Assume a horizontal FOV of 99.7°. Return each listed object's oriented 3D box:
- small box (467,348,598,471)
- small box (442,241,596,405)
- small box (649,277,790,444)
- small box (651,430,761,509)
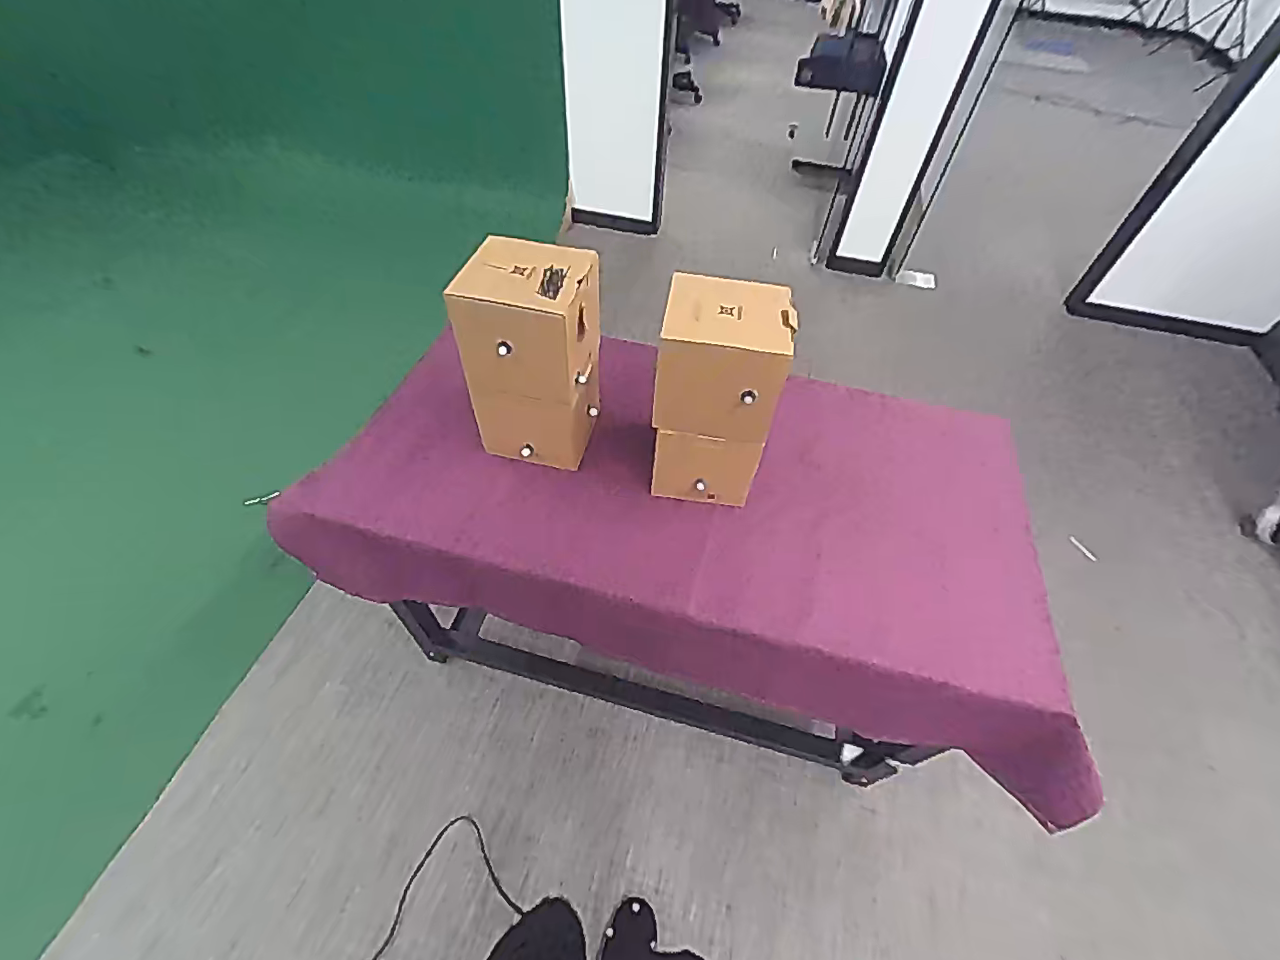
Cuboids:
[{"bbox_3d":[-0.180,-0.137,0.966,0.179,0.176,0.168,12,52,6],"label":"small box"},{"bbox_3d":[-0.172,-0.238,0.837,0.179,0.176,0.168,12,52,7],"label":"small box"},{"bbox_3d":[0.115,-0.174,0.806,0.179,0.176,0.168,9,51,4],"label":"small box"},{"bbox_3d":[0.111,-0.075,0.936,0.168,0.176,0.179,7,53,3],"label":"small box"}]
